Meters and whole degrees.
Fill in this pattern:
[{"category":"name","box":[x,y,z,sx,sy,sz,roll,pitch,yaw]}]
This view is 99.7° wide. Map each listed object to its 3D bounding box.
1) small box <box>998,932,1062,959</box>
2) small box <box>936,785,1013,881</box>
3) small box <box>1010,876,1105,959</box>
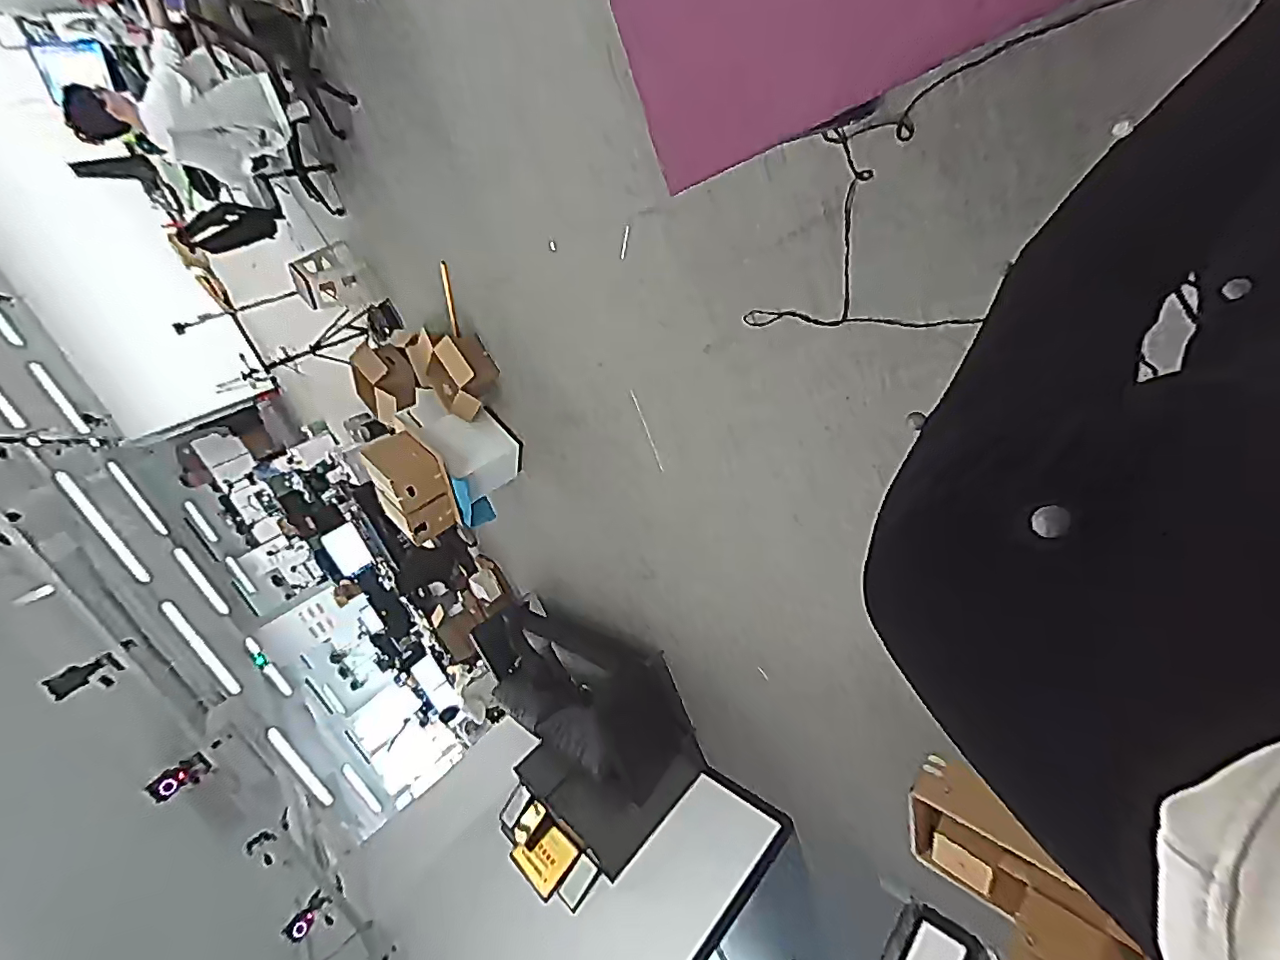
[{"category":"small box","box":[1.038,1.340,1.413,0.179,0.176,0.168,14,130,48]},{"category":"small box","box":[1.103,1.155,1.782,0.168,0.176,0.179,21,135,45]},{"category":"small box","box":[1.155,1.264,1.499,0.179,0.176,0.168,17,132,47]}]
